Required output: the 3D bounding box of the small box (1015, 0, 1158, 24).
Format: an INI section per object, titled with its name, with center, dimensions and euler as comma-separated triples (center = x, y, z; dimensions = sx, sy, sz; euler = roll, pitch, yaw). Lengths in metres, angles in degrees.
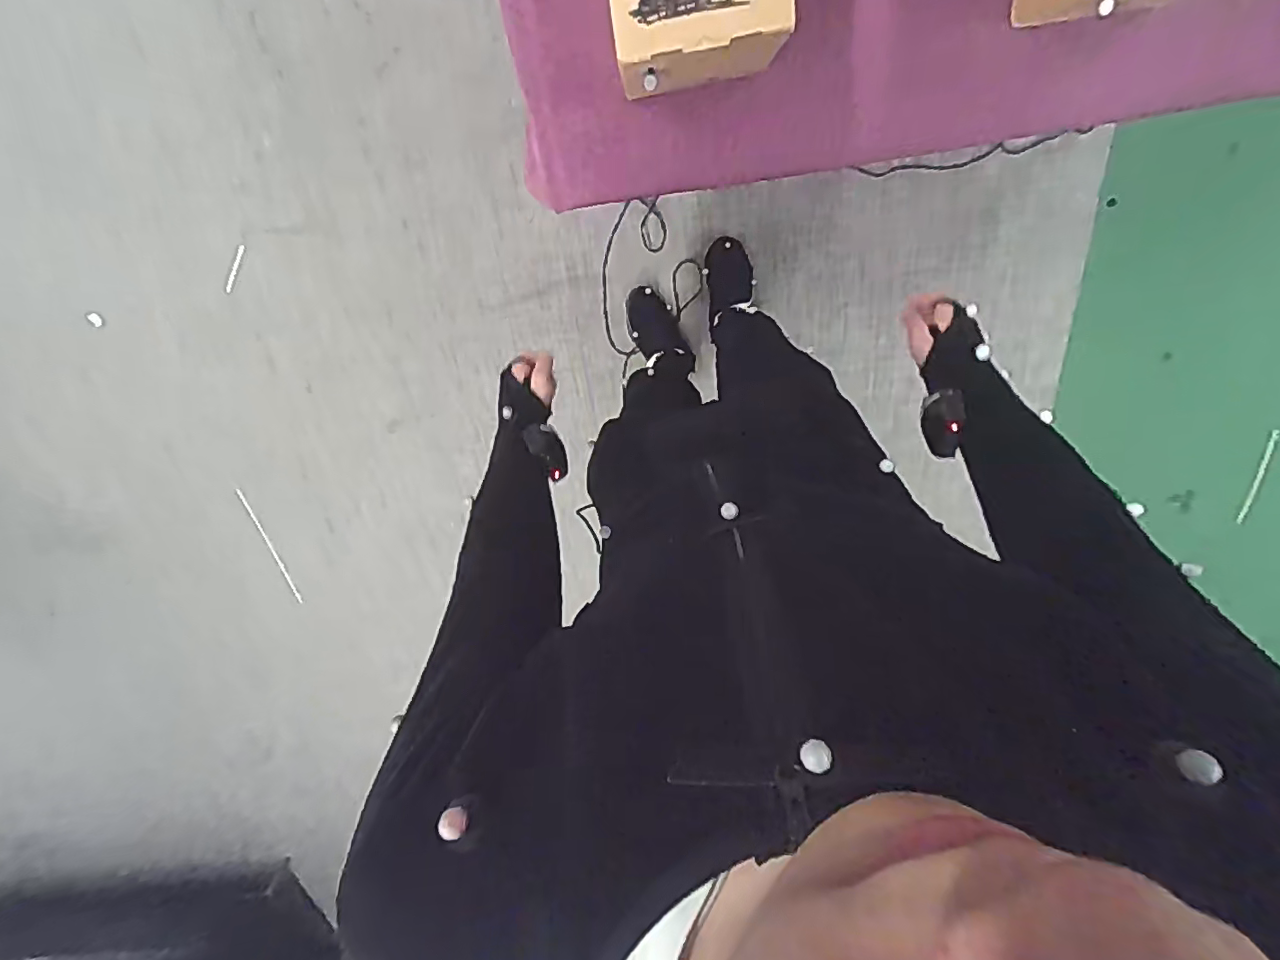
[small box]
center = 0.487, -0.568, 0.499
dimensions = 0.168, 0.176, 0.179
euler = -6, 116, 4
